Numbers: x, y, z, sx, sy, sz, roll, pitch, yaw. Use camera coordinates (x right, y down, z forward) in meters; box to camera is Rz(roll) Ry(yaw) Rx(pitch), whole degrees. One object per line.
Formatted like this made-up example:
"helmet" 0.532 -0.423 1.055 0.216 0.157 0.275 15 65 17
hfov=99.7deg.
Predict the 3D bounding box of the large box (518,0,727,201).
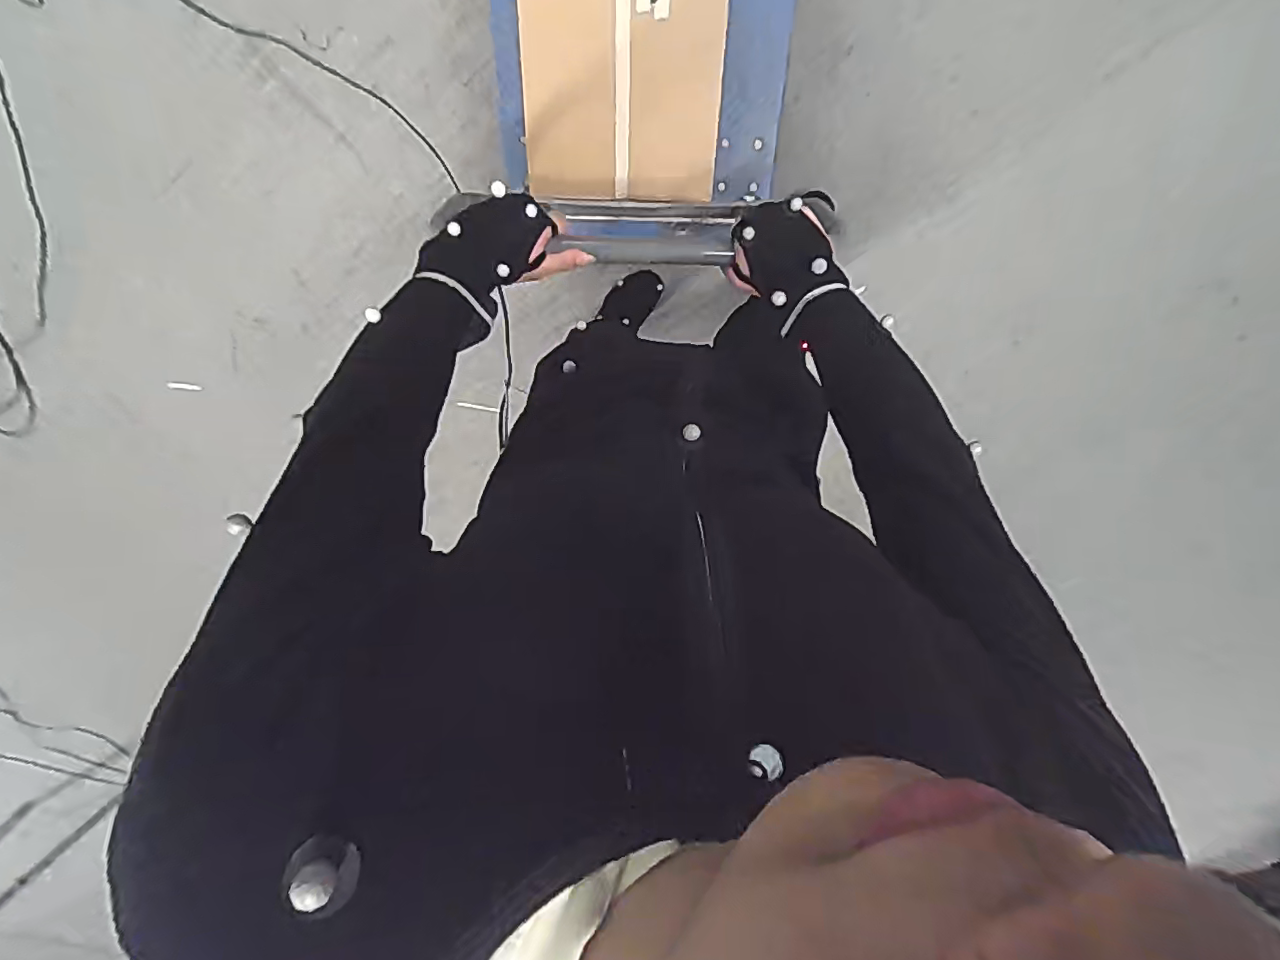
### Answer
"large box" -0.024 -0.723 0.960 0.320 0.320 0.408 1 119 0
